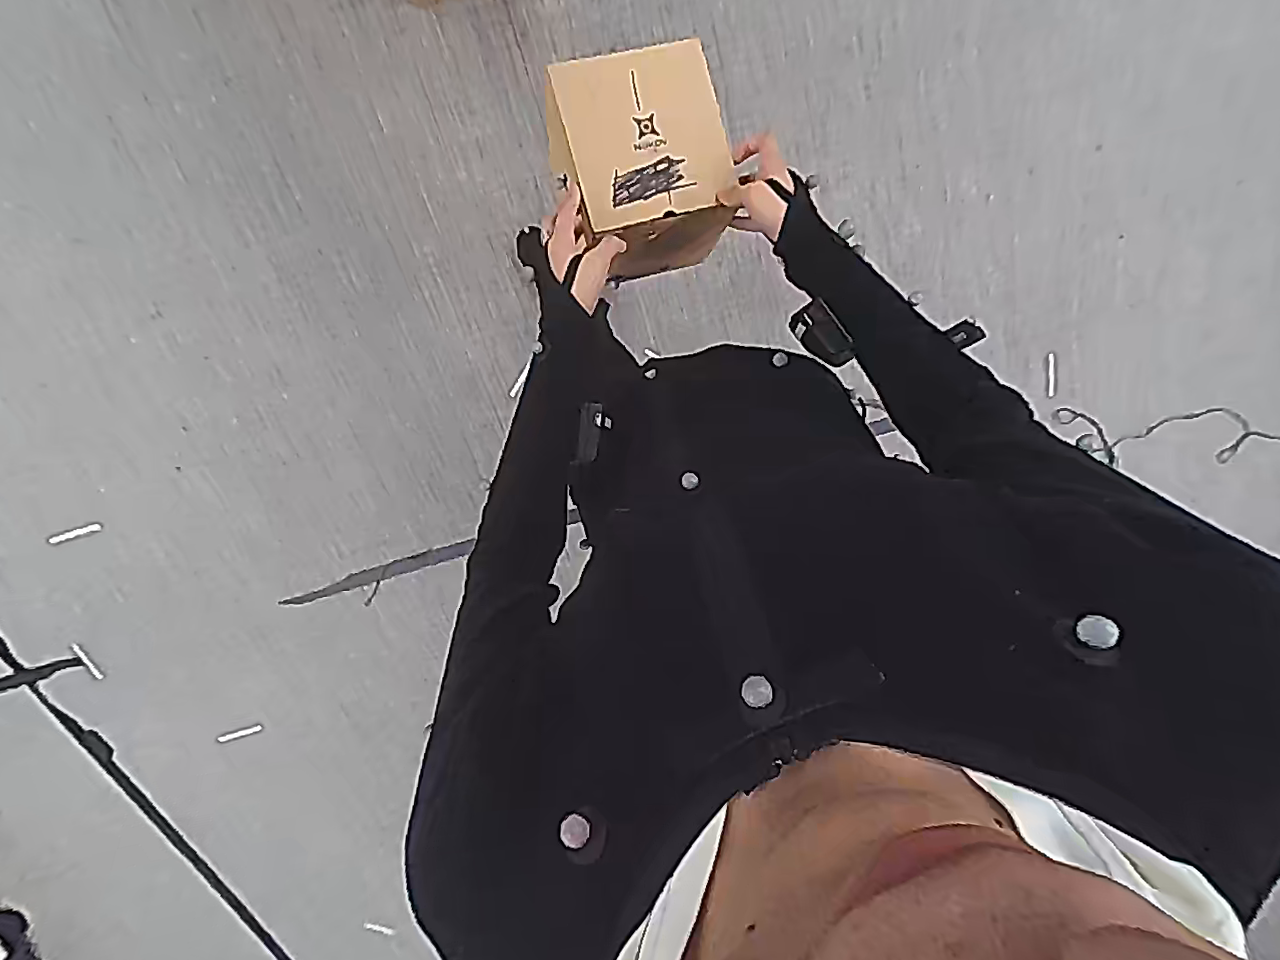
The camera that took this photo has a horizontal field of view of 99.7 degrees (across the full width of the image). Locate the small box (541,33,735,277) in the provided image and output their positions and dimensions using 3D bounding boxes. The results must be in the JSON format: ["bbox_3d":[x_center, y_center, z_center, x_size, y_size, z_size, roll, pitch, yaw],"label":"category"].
[{"bbox_3d":[-0.009,-0.355,0.628,0.168,0.176,0.179,-16,92,-8],"label":"small box"}]
